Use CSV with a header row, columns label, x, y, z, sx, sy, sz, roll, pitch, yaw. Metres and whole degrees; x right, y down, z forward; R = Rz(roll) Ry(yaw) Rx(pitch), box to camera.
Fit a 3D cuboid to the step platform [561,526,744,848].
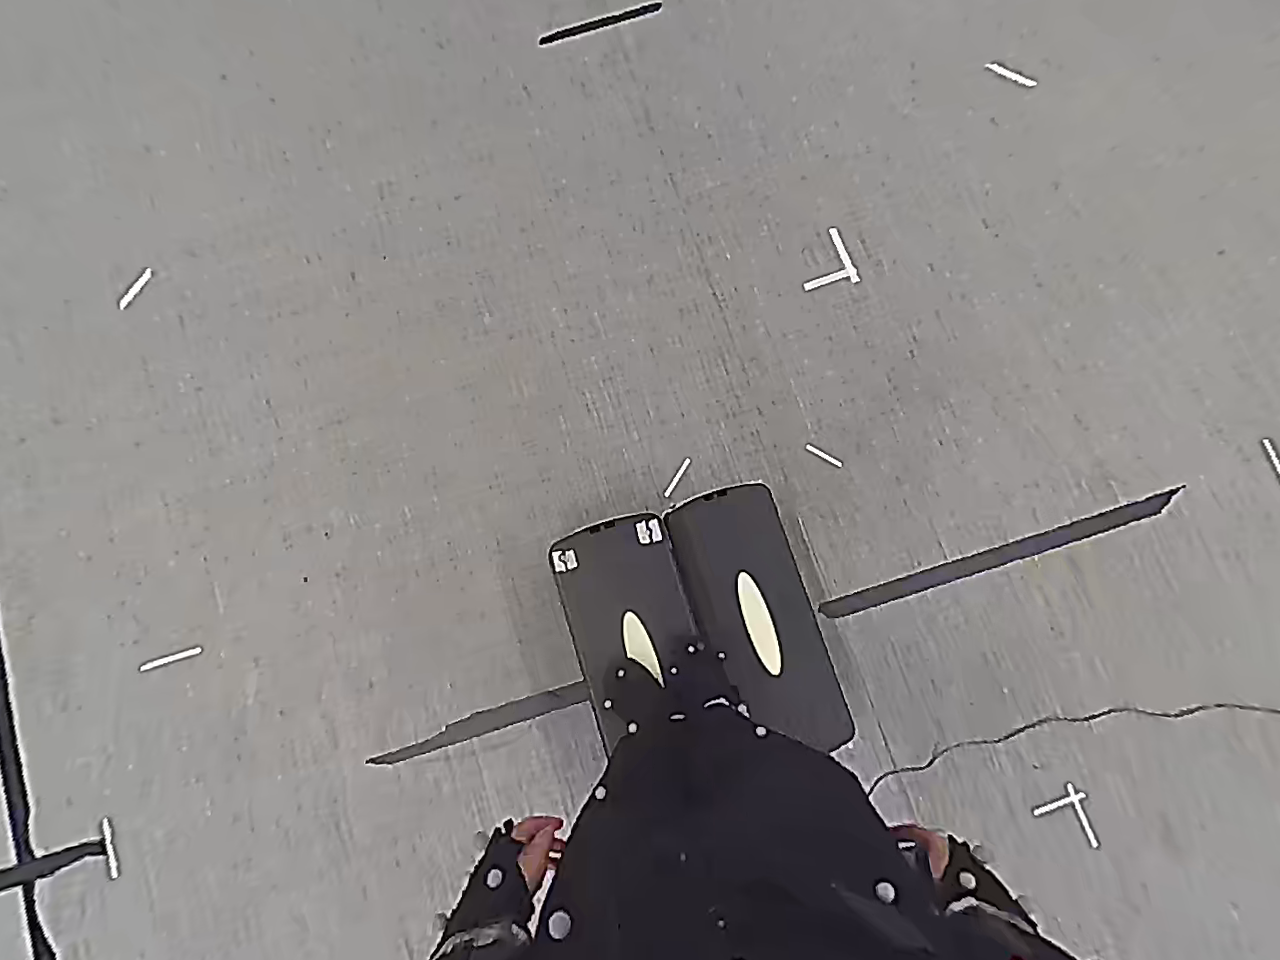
label,x,y,z,sx,sy,sz,roll,pitch,yaw
step platform,0.019,0.452,1.264,0.286,0.204,0.684,-14,79,-3
